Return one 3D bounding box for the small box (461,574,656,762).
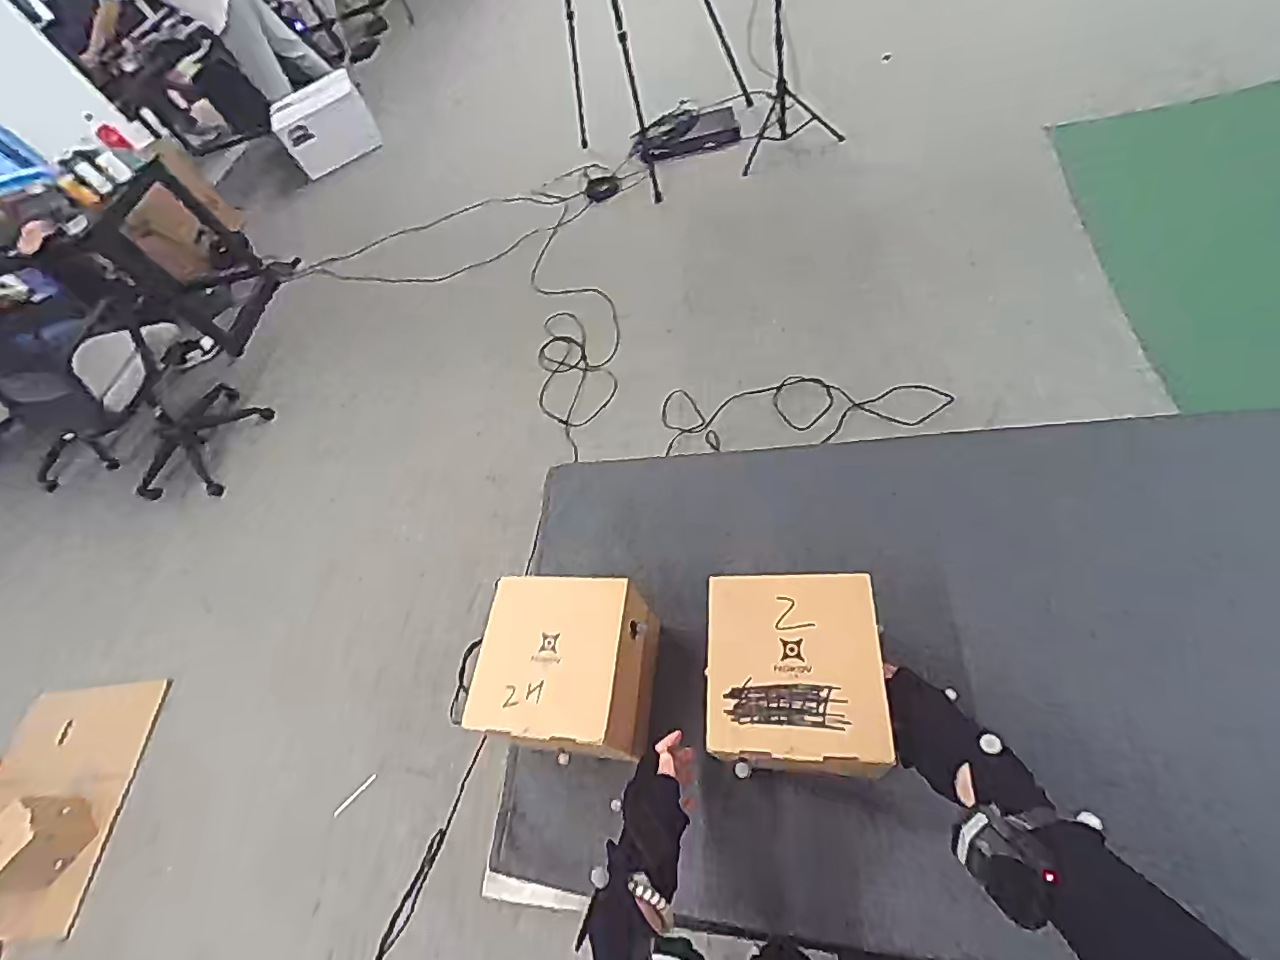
[{"bbox_3d":[-0.083,0.230,0.660,0.168,0.176,0.179,-2,58,17],"label":"small box"}]
